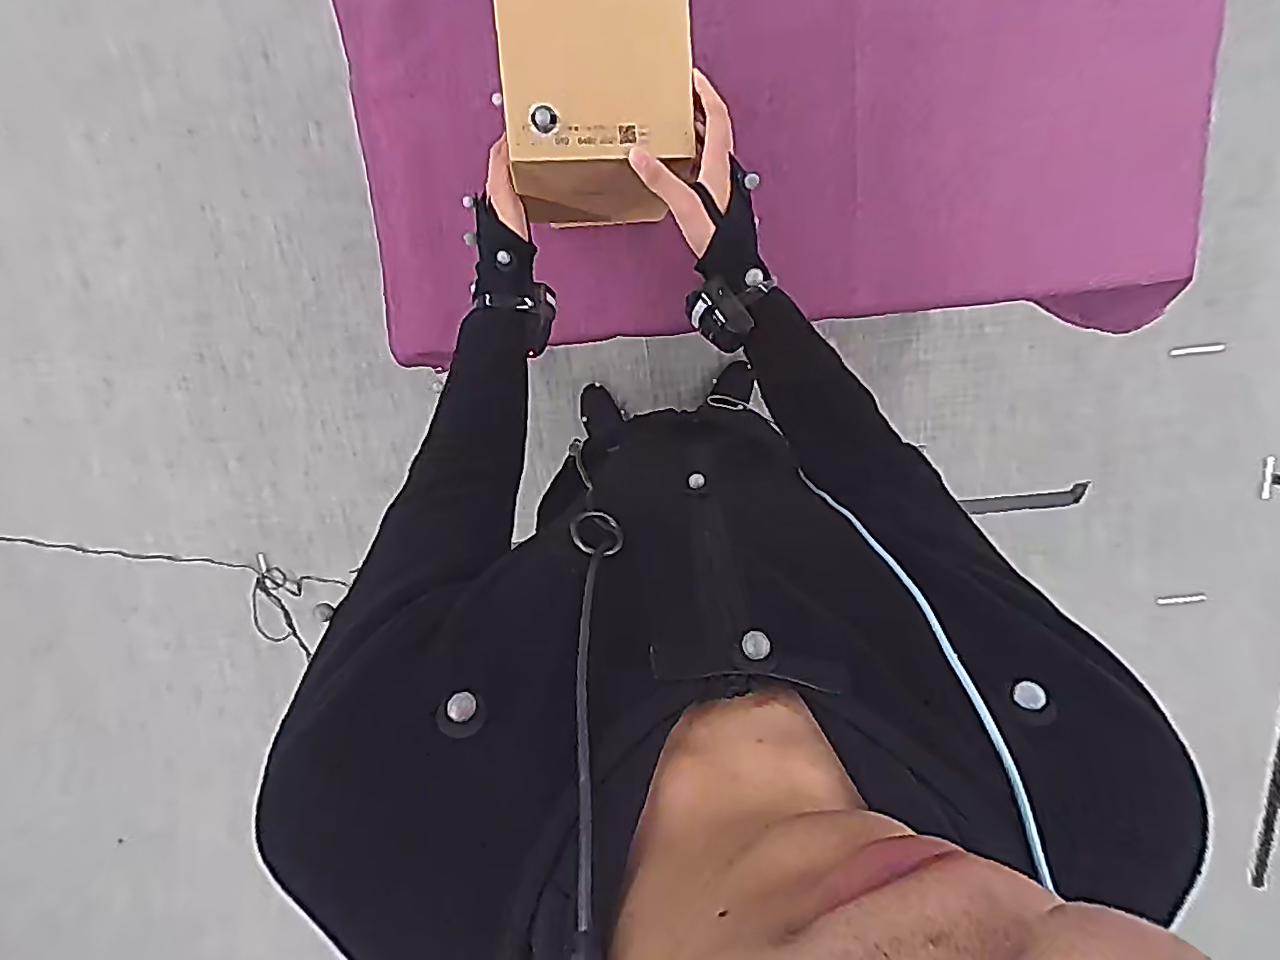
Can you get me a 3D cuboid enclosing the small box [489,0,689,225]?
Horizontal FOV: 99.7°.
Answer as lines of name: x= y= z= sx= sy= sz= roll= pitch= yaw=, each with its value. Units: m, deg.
small box: x=-0.050 y=-0.370 z=0.537 sx=0.168 sy=0.179 sz=0.176 roll=-5 pitch=99 yaw=-7
